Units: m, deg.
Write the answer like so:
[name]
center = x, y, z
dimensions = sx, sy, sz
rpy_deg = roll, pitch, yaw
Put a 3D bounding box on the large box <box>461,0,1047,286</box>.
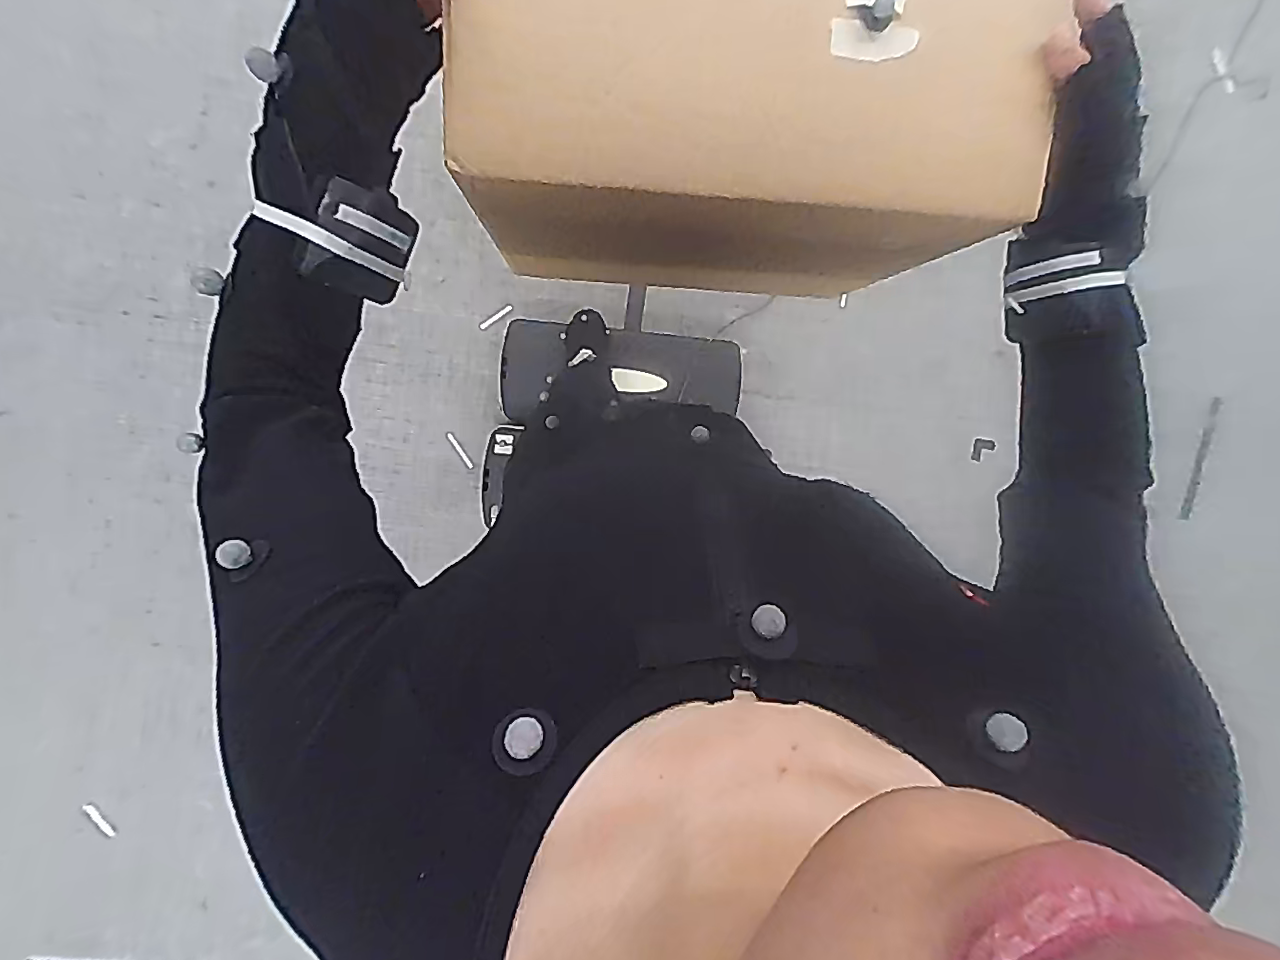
[large box]
center = 0.068, -0.374, 0.499
dimensions = 0.408, 0.320, 0.320
rpy_deg = 1, 99, -6
